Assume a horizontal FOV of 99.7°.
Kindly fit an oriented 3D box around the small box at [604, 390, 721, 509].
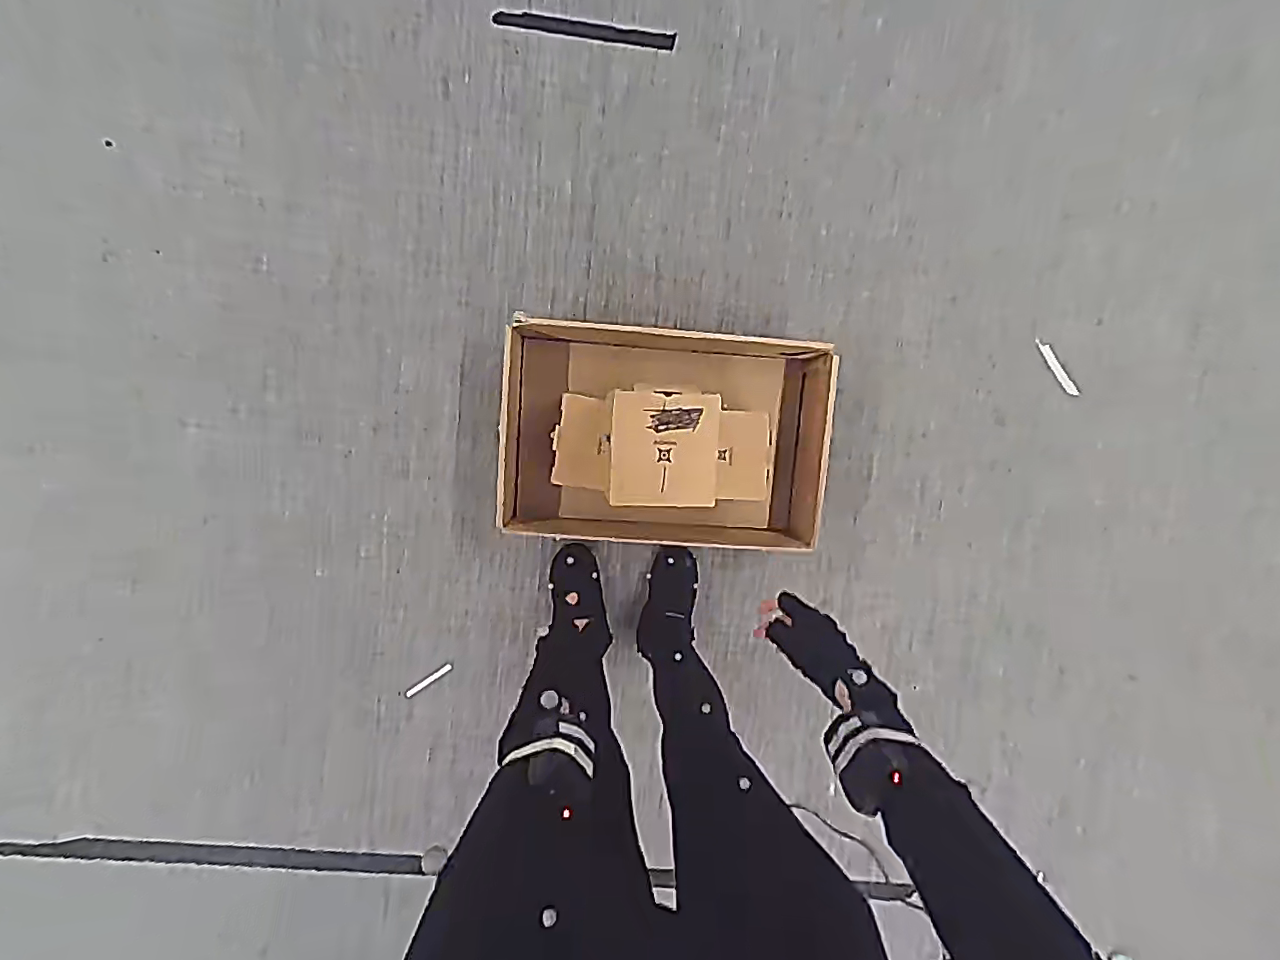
[{"bbox_3d":[0.028,-0.053,0.897,0.168,0.176,0.179,2,96,-7],"label":"small box"}]
